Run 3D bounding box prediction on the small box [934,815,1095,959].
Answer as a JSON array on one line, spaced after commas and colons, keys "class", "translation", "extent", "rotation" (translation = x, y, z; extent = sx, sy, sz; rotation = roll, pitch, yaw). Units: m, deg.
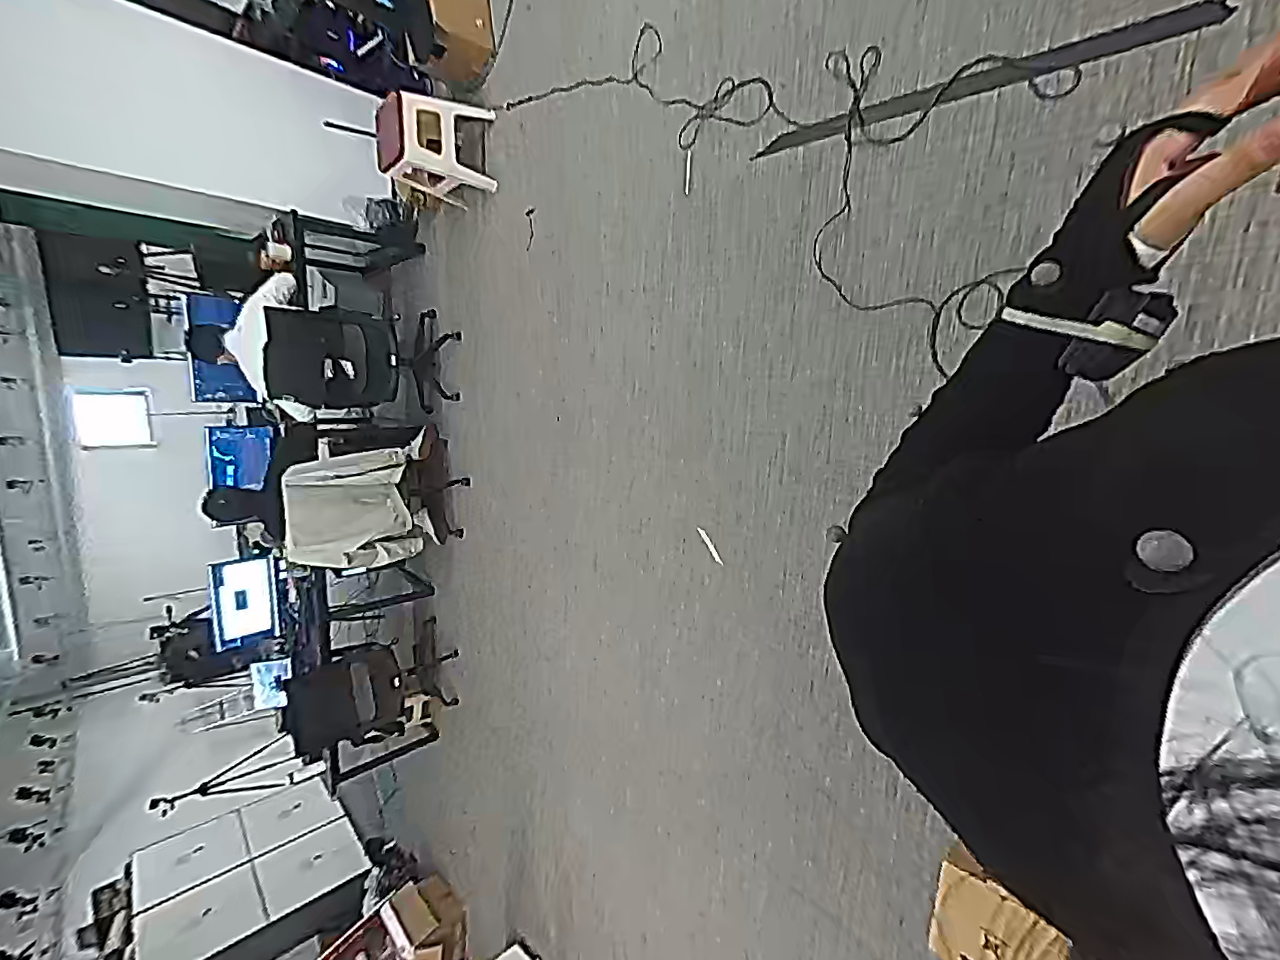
[{"class": "small box", "translation": [0.599, 0.687, 0.864], "extent": [0.168, 0.176, 0.179], "rotation": [14, 103, 47]}]
